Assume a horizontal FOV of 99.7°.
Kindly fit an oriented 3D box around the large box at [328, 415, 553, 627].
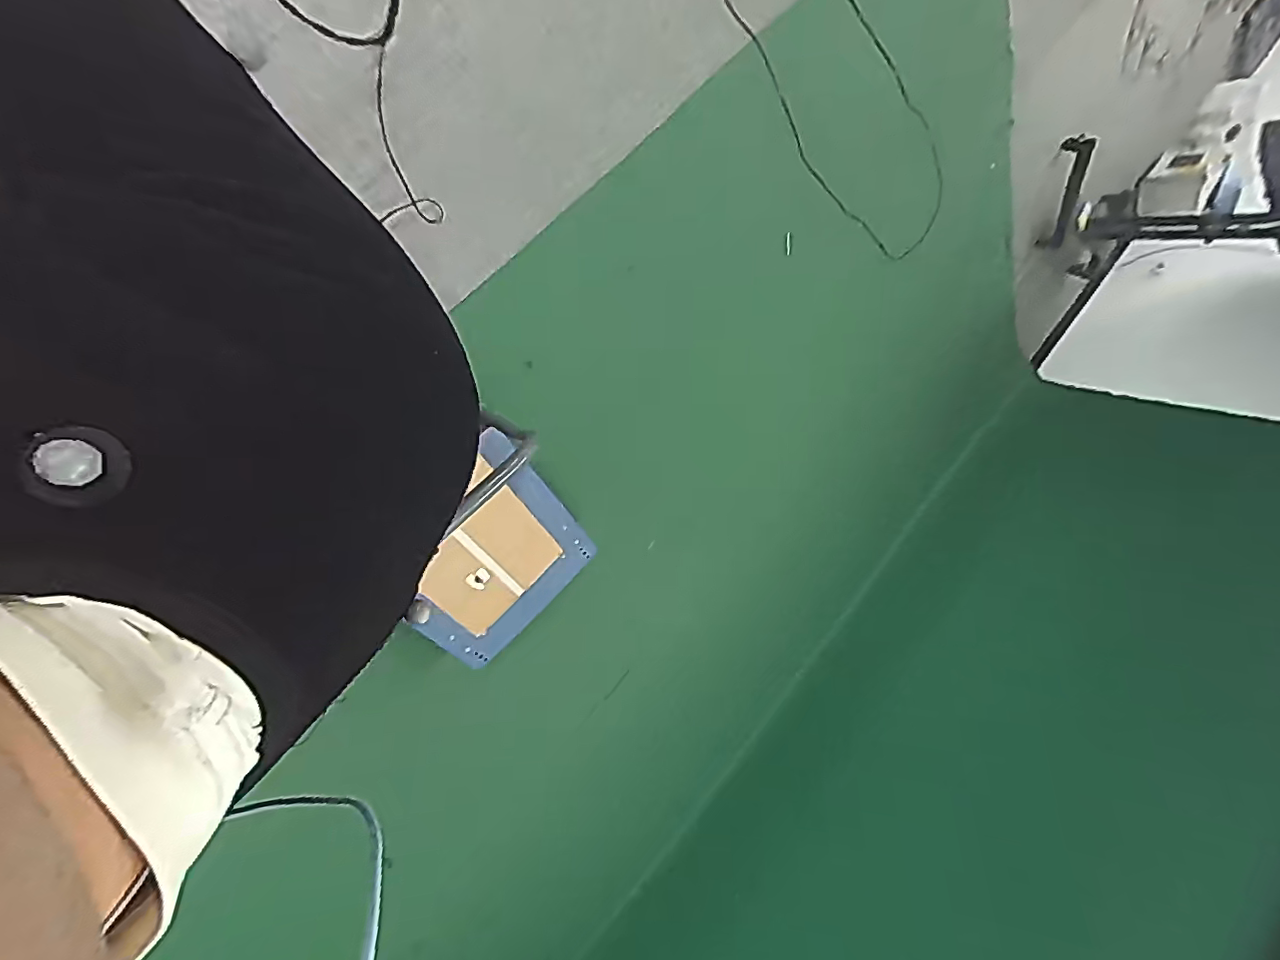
[{"bbox_3d":[-0.509,0.100,1.405,0.320,0.320,0.408,-44,132,-15],"label":"large box"}]
